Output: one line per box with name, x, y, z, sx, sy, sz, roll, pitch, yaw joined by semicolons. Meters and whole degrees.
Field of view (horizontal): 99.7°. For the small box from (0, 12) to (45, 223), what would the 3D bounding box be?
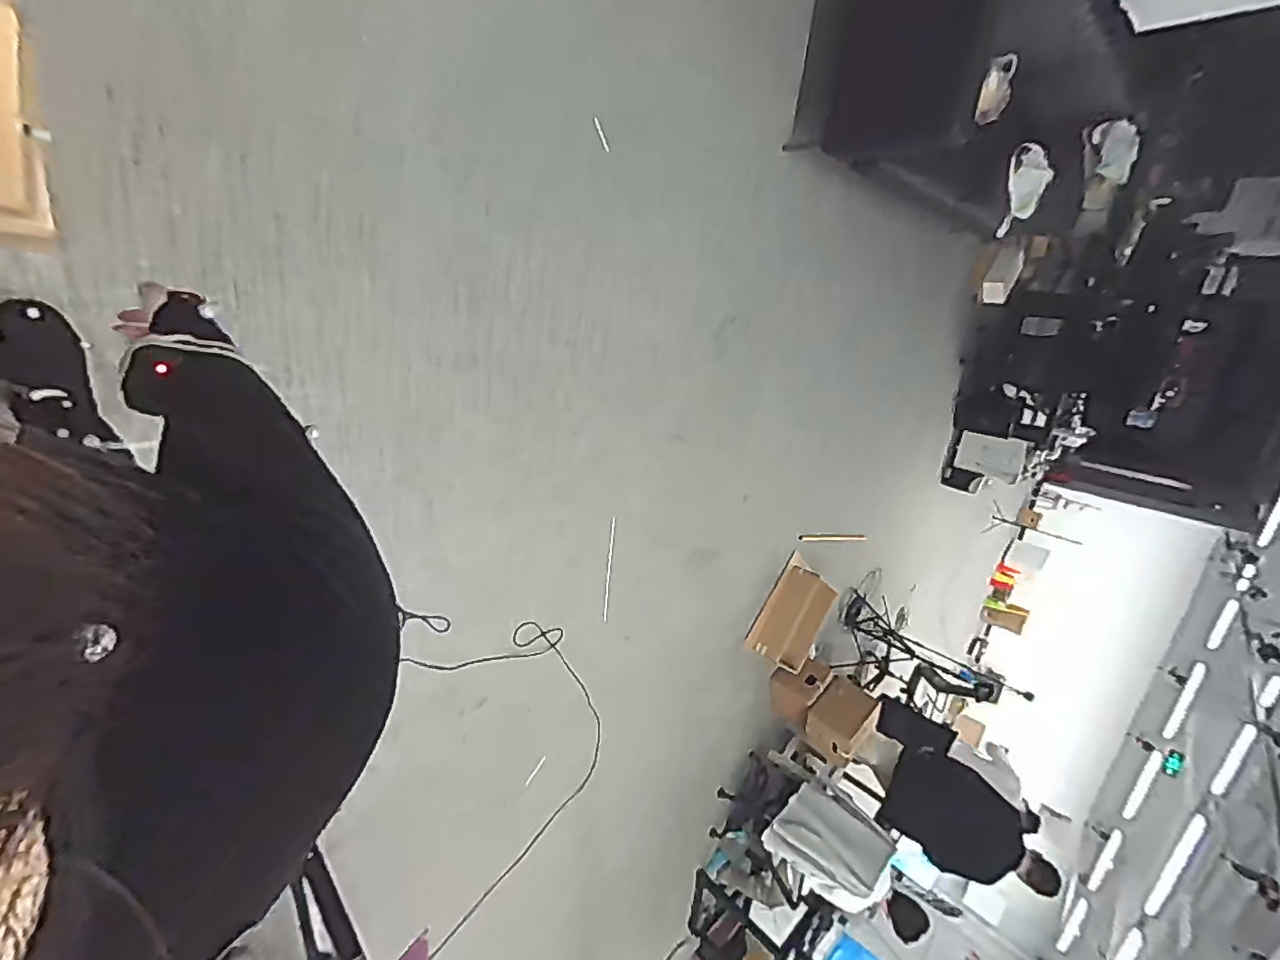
small box;-0.698;-0.363;0.517;0.168;0.176;0.179;-2;108;-45
